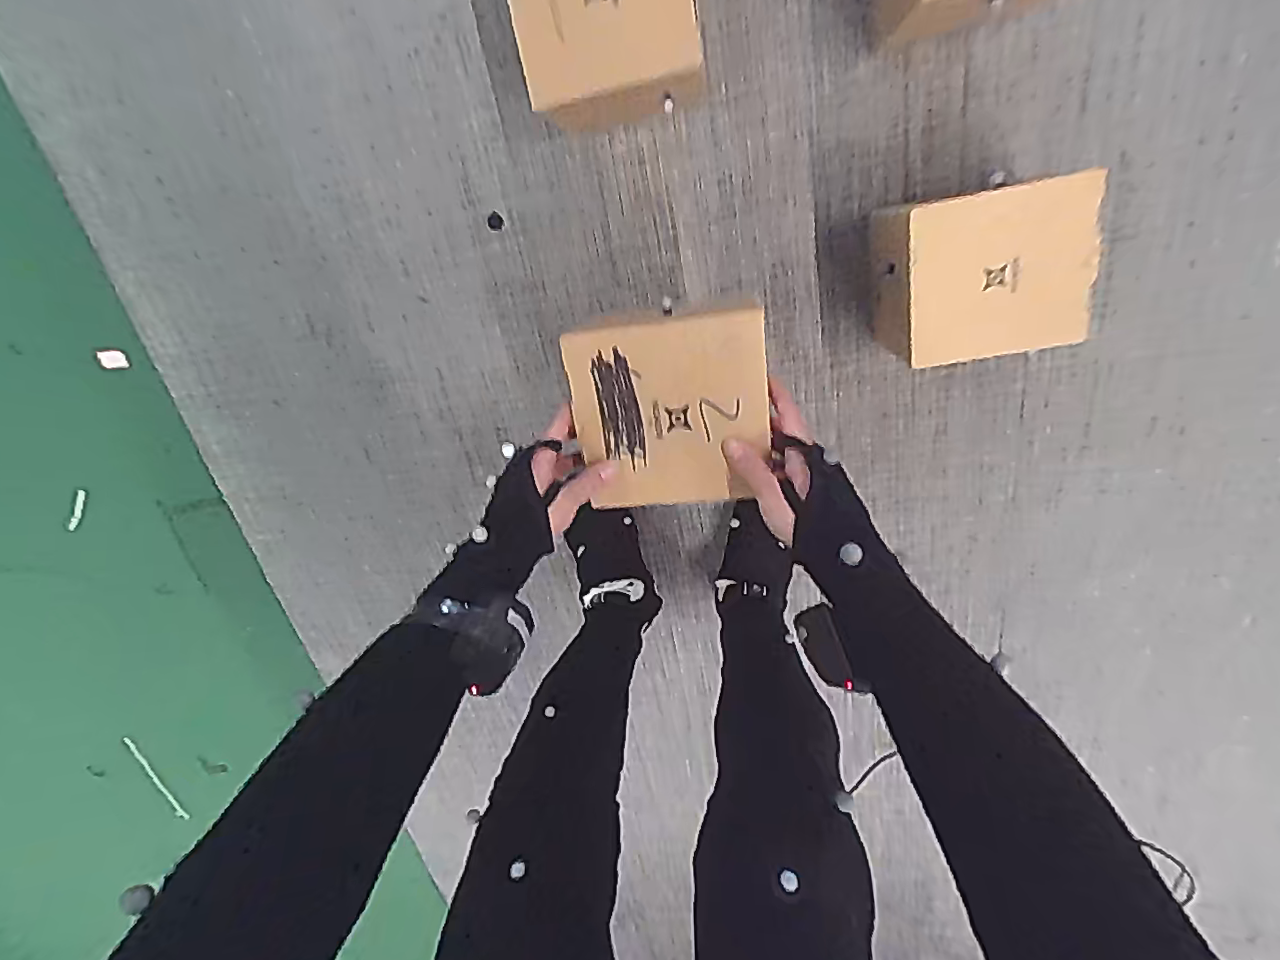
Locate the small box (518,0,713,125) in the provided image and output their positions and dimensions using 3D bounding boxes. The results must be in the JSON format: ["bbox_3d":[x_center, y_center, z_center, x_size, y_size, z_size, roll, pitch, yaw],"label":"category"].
[{"bbox_3d":[-0.020,-0.492,0.560,0.179,0.176,0.168,-6,113,12],"label":"small box"}]

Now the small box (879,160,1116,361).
[{"bbox_3d":[0.381,-0.244,0.617,0.179,0.176,0.168,-8,113,11],"label":"small box"}]

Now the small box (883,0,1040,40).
[{"bbox_3d":[0.327,-0.537,0.486,0.179,0.176,0.168,-7,114,11],"label":"small box"}]
